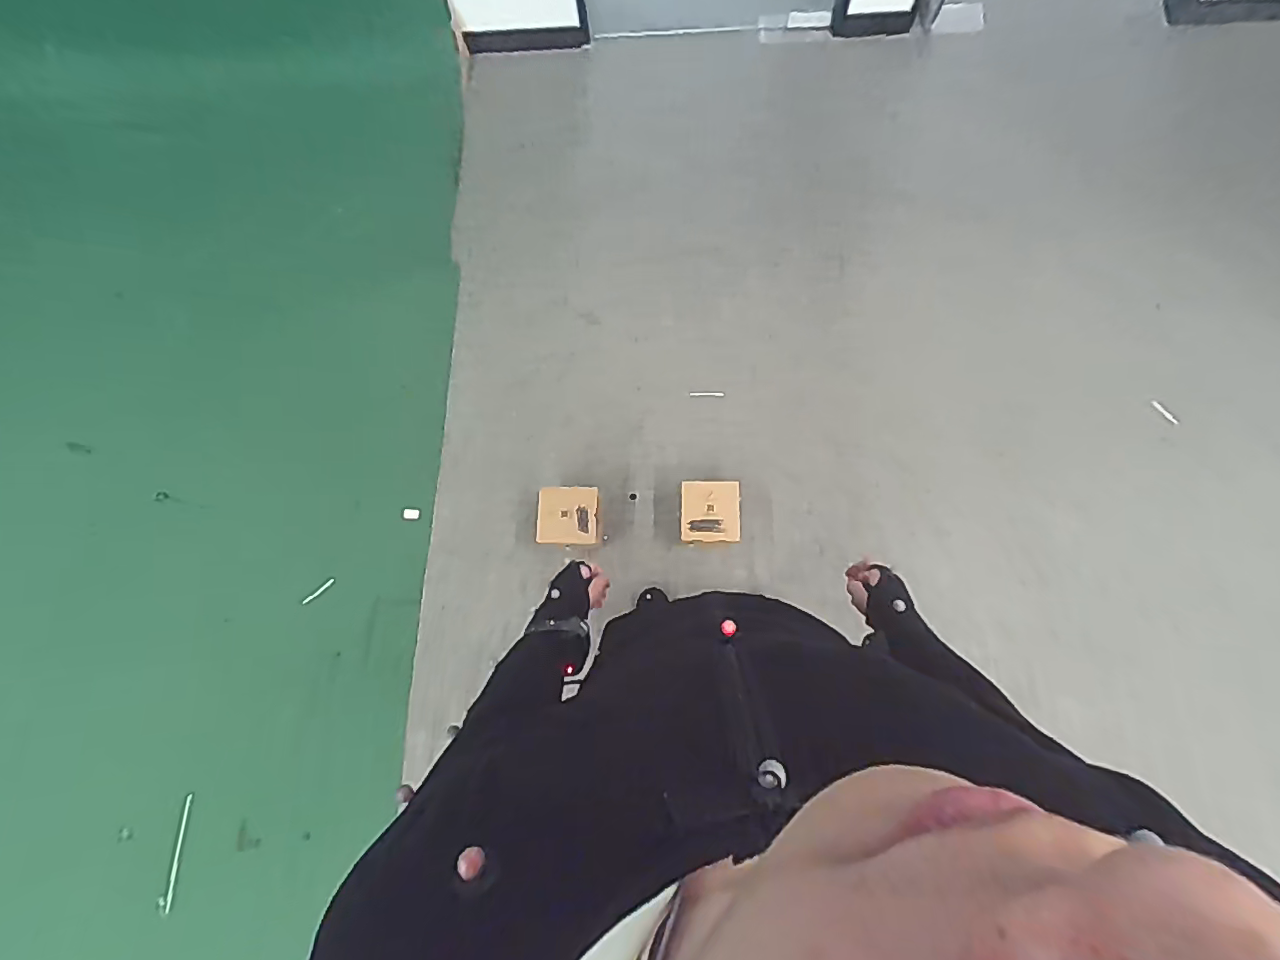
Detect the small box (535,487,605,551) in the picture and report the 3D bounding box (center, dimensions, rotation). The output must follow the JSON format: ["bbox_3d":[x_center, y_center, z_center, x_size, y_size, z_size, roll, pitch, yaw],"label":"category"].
[{"bbox_3d":[-0.202,0.120,1.608,0.179,0.176,0.168,1,77,5],"label":"small box"}]
